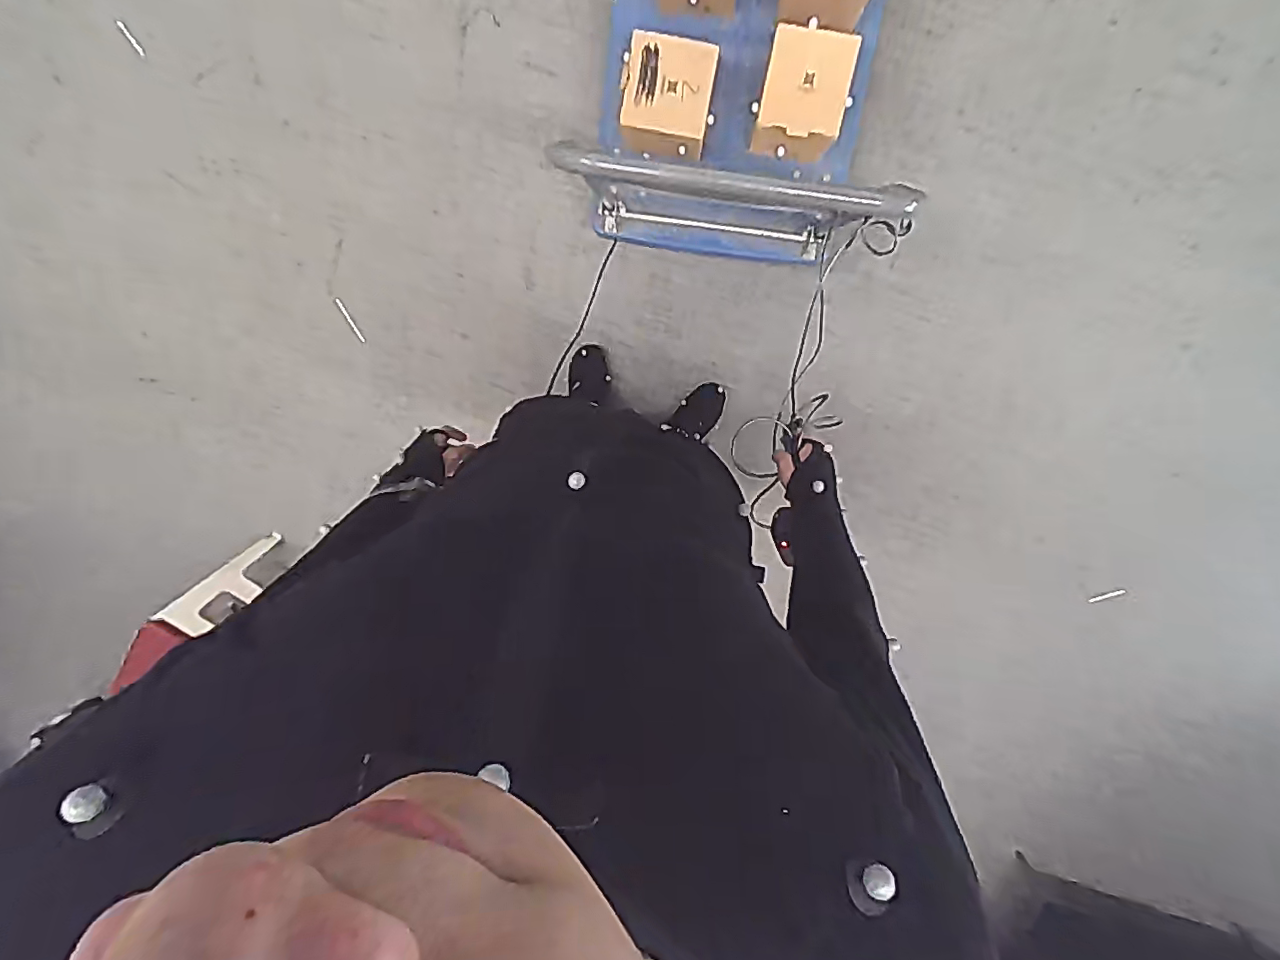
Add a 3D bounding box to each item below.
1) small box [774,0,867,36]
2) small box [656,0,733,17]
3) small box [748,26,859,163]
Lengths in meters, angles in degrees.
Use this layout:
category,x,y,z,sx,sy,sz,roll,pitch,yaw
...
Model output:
category,x,y,z,sx,sy,sz,roll,pitch,yaw
small box,0.368,-1.024,1.063,0.168,0.176,0.179,7,107,4
small box,0.115,-1.065,1.074,0.168,0.176,0.179,5,106,2
small box,0.330,-0.795,1.133,0.168,0.176,0.179,10,107,2
